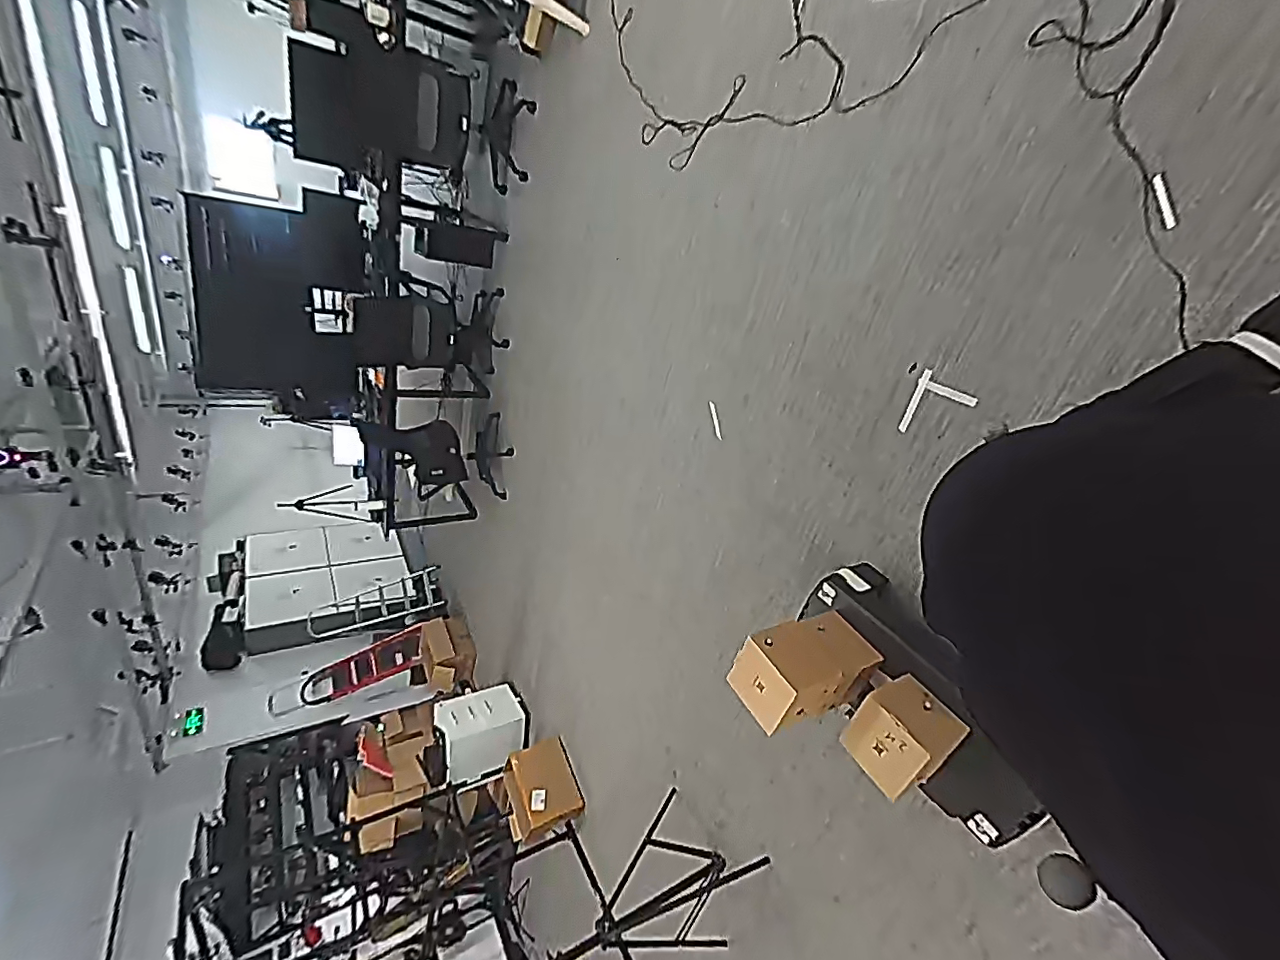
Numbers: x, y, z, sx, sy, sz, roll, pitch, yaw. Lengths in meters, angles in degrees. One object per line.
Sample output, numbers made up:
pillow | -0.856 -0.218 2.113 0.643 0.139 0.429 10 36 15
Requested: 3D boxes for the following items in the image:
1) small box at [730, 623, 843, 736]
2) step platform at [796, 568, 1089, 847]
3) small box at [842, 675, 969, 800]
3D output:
small box | 0.355 0.474 1.312 0.179 0.176 0.168 49 132 43
step platform | 0.707 0.542 1.401 0.684 0.204 0.286 44 130 44
small box | 0.609 0.584 1.240 0.168 0.176 0.179 46 131 43
